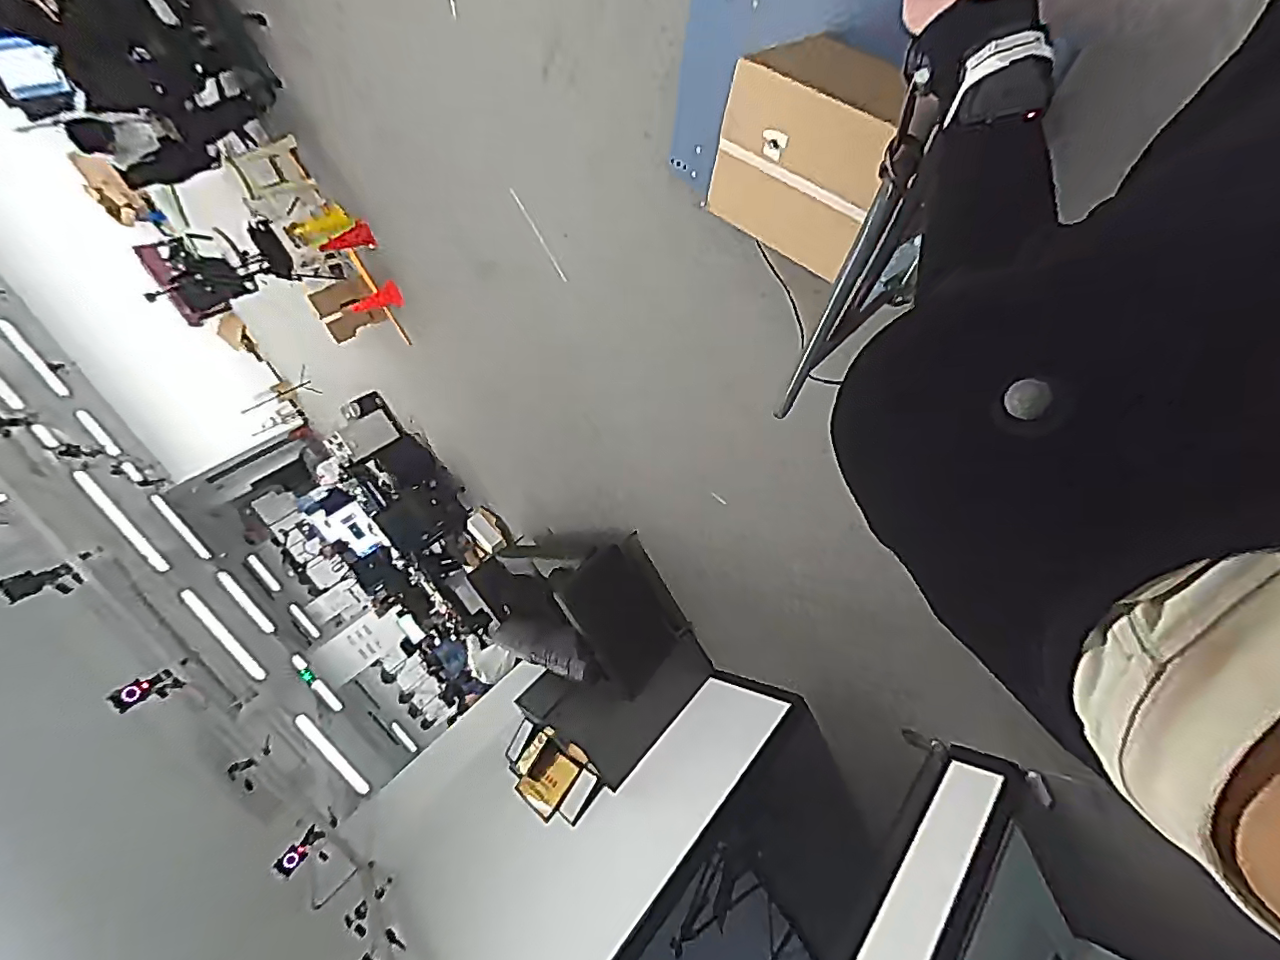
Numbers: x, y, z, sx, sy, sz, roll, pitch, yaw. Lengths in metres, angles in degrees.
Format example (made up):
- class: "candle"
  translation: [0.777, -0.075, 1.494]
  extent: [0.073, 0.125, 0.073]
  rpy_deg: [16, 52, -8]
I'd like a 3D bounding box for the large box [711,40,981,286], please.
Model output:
- class: "large box"
  translation: [0.433, -0.708, 1.200]
  extent: [0.408, 0.320, 0.320]
  rpy_deg: [41, 148, 20]
